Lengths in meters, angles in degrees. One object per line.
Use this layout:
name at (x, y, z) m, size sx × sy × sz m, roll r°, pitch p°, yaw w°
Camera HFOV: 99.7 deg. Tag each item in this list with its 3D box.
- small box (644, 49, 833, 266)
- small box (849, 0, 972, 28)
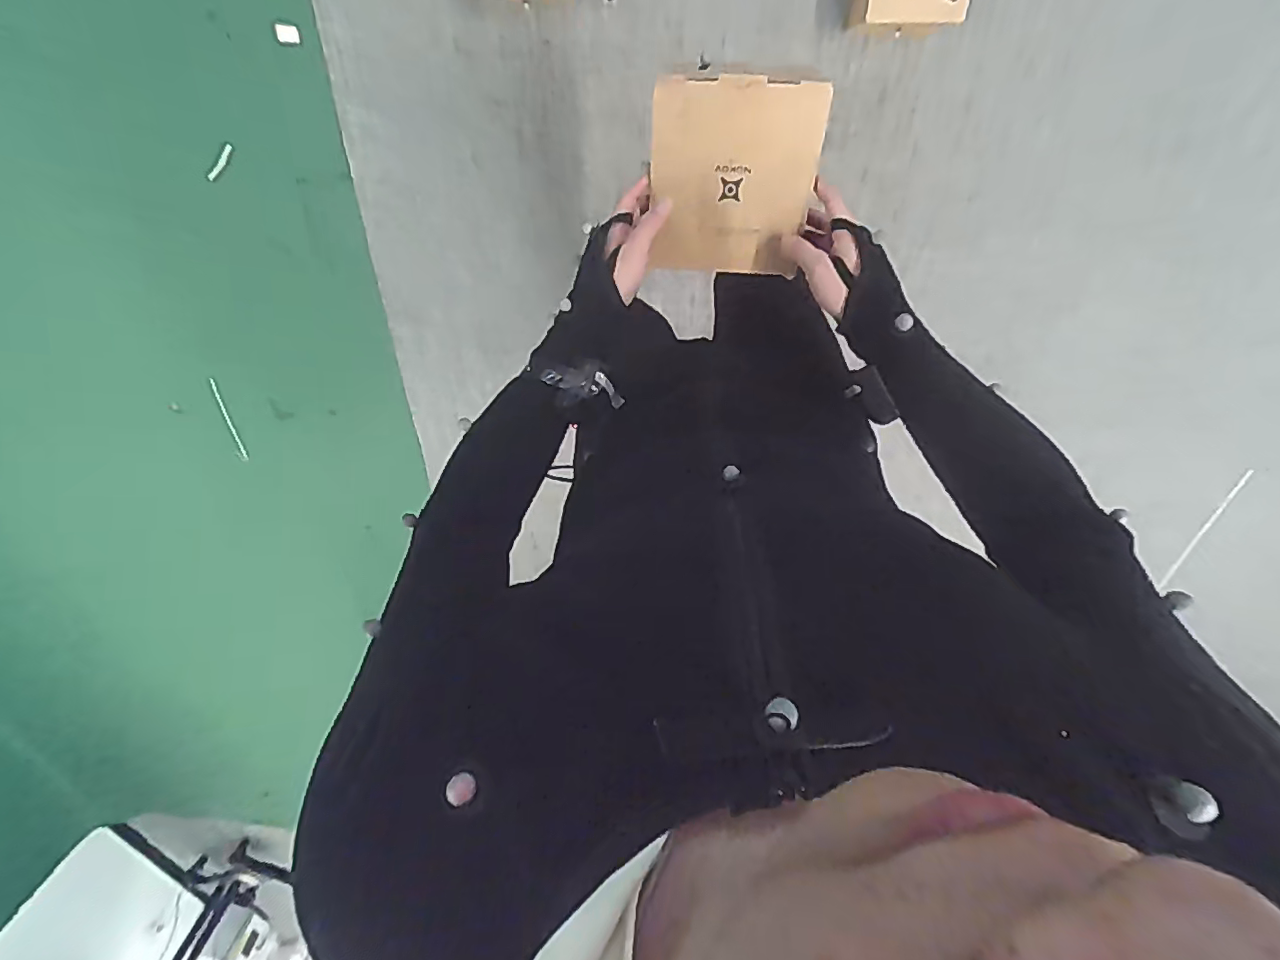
small box at (0.096, -0.355, 0.591) m, size 0.168 × 0.176 × 0.179 m, roll 6°, pitch 132°, yaw 5°
small box at (0.496, -0.928, 0.968) m, size 0.179 × 0.176 × 0.168 m, roll 4°, pitch 125°, yaw 5°
